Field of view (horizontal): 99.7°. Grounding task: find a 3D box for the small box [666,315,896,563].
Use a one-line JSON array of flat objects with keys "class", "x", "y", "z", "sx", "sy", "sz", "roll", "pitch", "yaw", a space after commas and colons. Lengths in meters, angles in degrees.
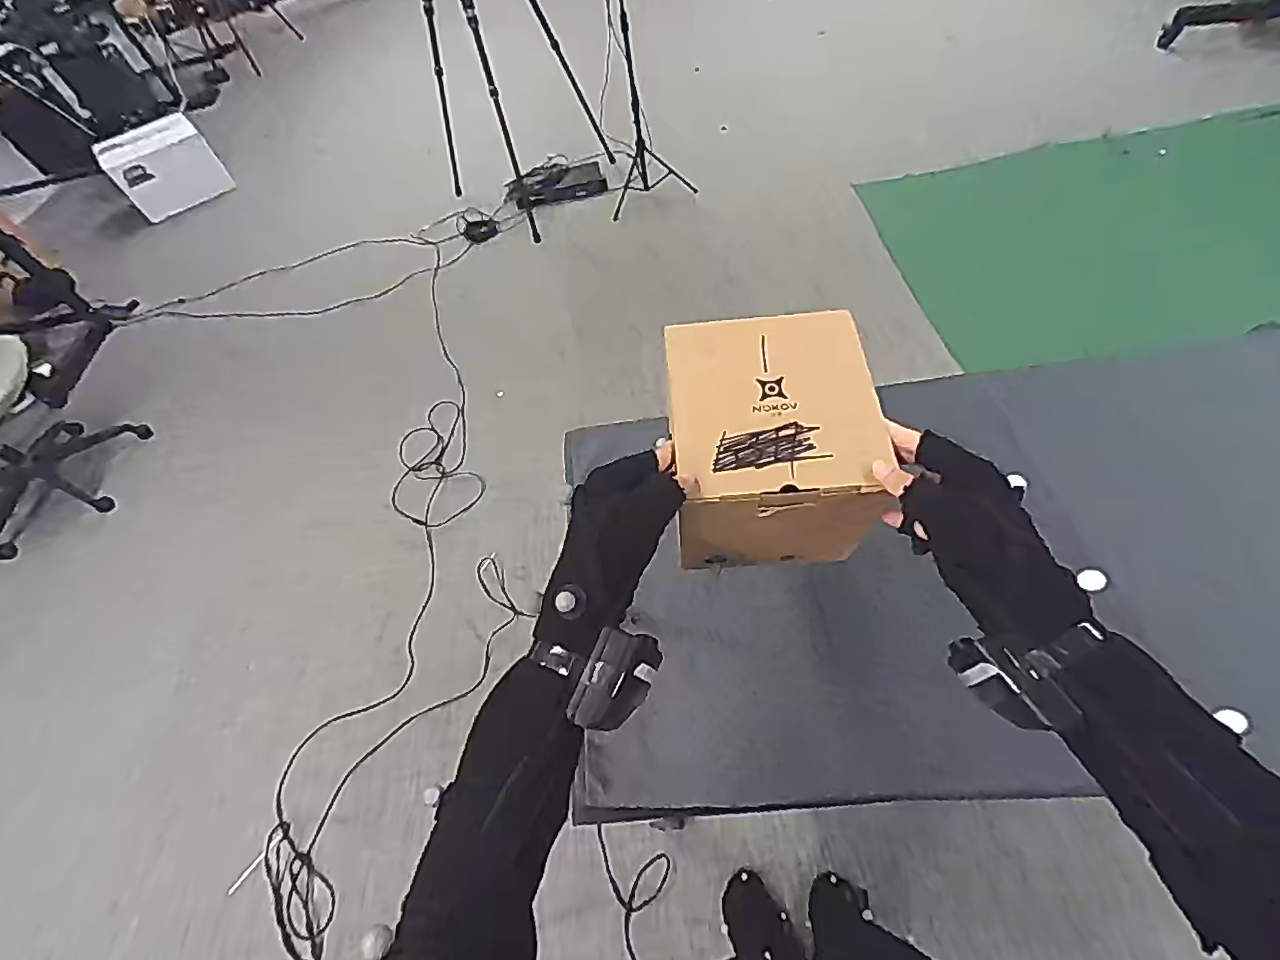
[{"class": "small box", "x": 0.114, "y": -0.026, "z": 0.512, "sx": 0.168, "sy": 0.176, "sz": 0.179, "roll": -4, "pitch": 62, "yaw": 3}]
